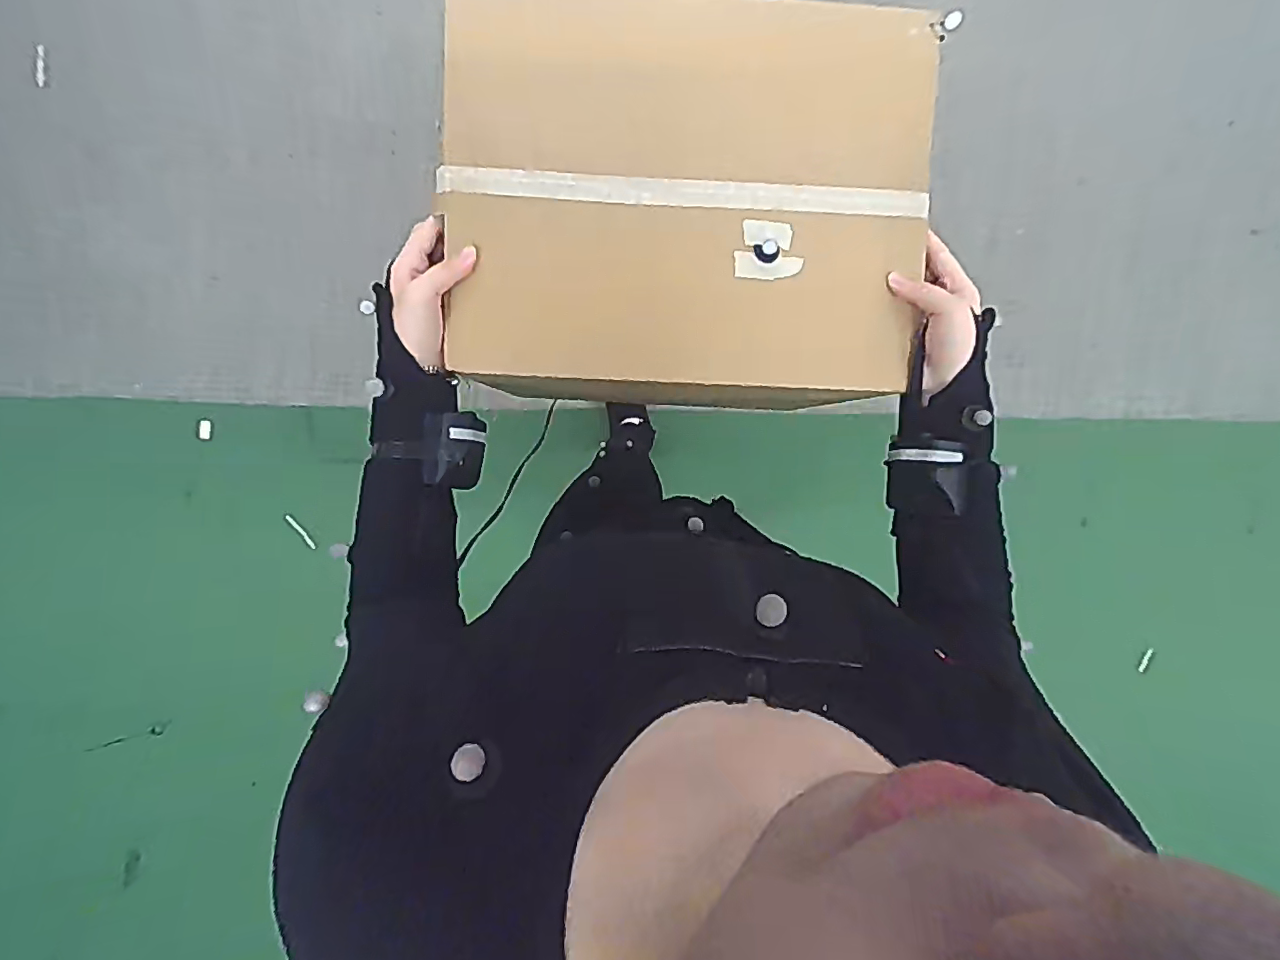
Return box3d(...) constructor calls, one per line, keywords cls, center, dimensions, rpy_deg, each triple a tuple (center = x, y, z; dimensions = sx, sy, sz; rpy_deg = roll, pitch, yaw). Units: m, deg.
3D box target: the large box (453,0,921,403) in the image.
box3d(cls="large box", center=(0.032, -0.255, 0.610), dimensions=(0.408, 0.320, 0.320), rpy_deg=(2, 95, -4))
